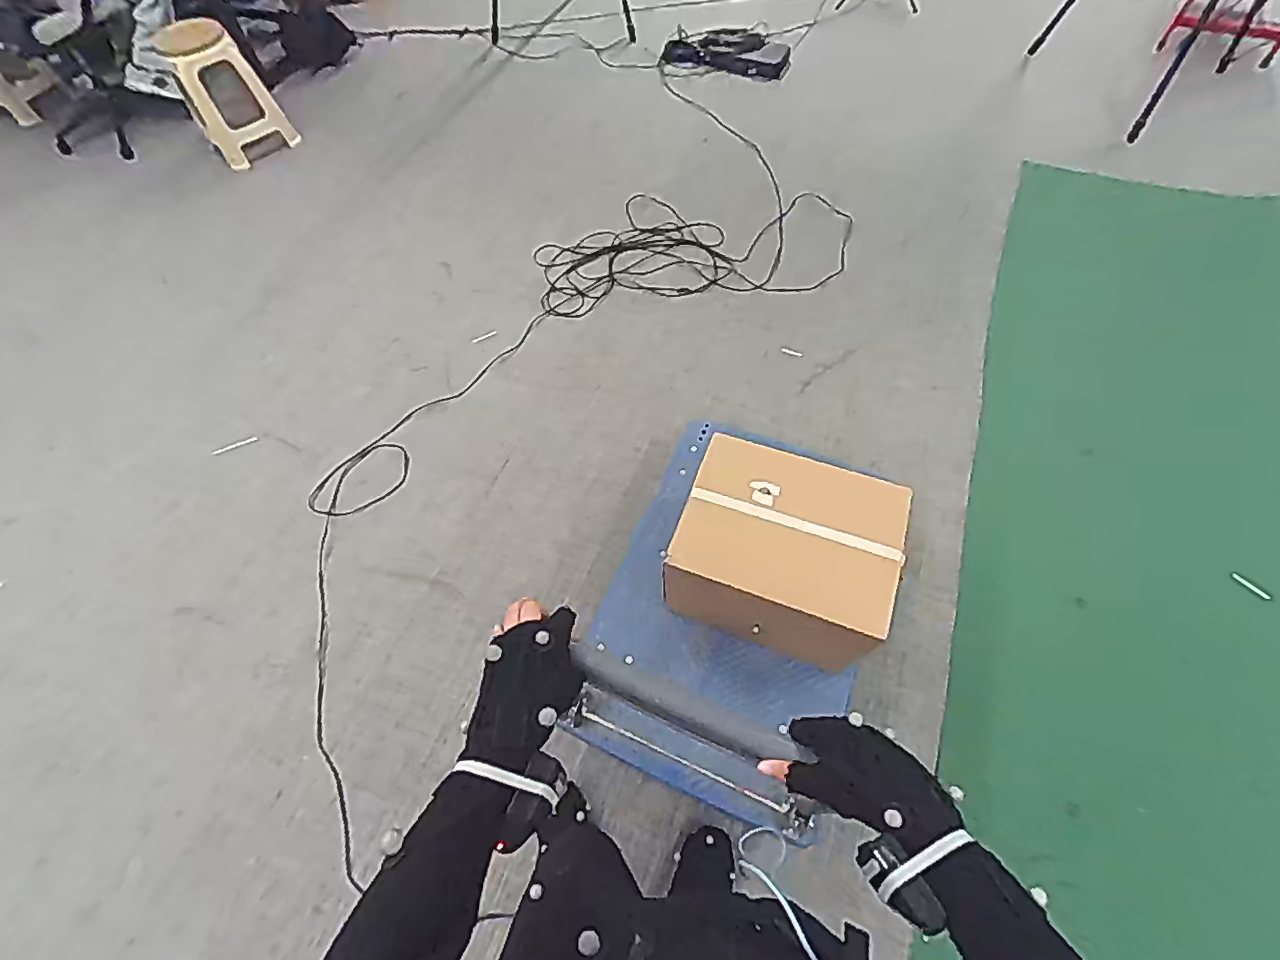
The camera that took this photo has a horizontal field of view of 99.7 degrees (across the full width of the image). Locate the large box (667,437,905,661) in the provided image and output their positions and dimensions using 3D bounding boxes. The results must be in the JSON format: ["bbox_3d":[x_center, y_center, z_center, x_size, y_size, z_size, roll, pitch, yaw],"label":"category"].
[{"bbox_3d":[0.301,0.157,1.172,0.408,0.320,0.320,16,63,14],"label":"large box"}]
